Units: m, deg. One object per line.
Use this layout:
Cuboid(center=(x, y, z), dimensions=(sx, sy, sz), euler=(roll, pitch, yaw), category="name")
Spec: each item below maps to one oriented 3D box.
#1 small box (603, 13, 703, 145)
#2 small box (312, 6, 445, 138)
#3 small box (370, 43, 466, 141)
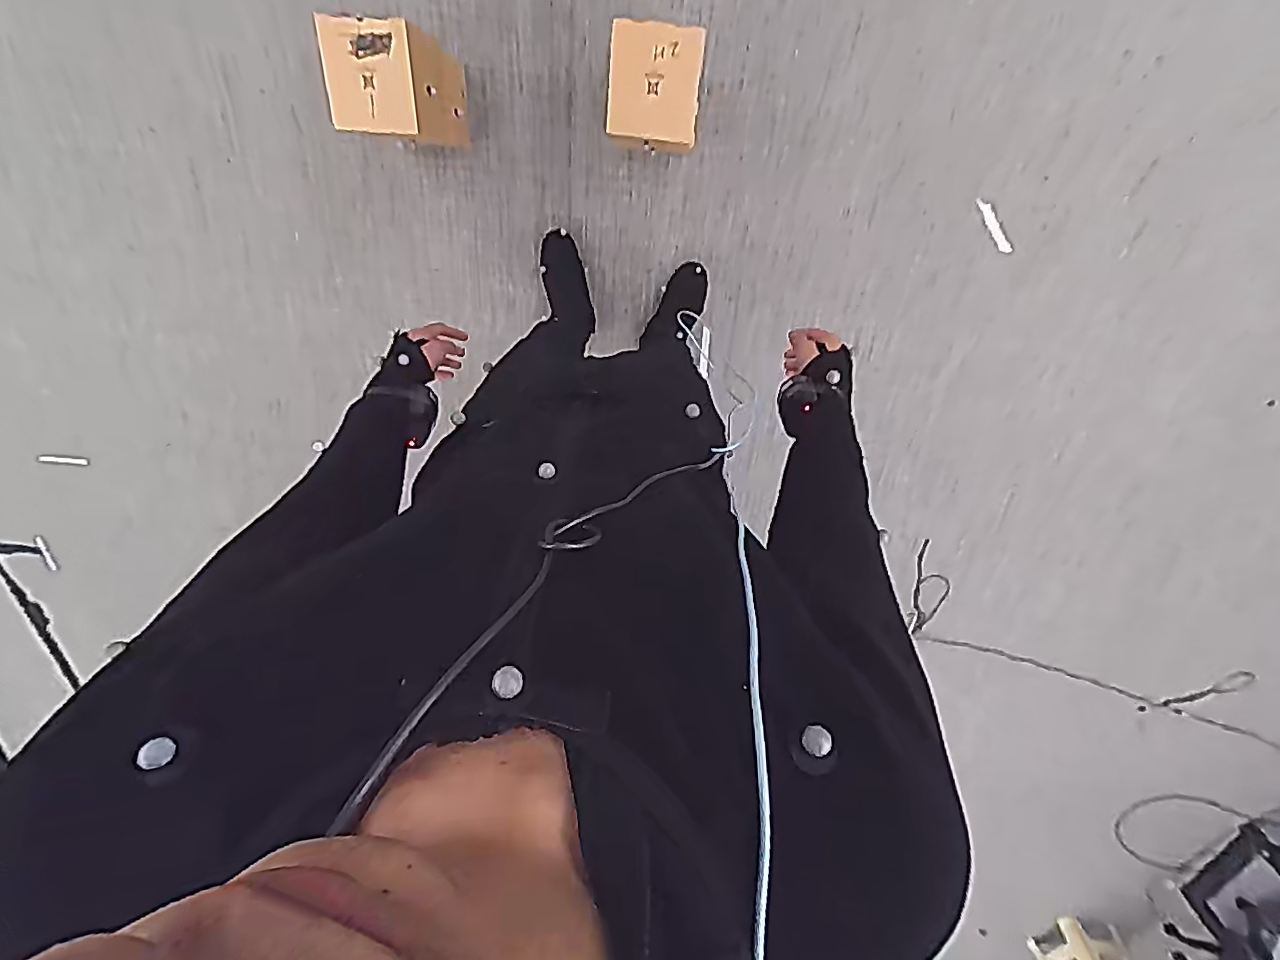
Cuboid(center=(0.024, -0.763, 1.047), dimensions=(0.168, 0.176, 0.179), euler=(6, 118, -2), category="small box")
Cuboid(center=(-0.495, -0.781, 1.052), dimensions=(0.168, 0.176, 0.179), euler=(4, 119, 0), category="small box")
Cuboid(center=(-0.496, -0.857, 1.198), dimensions=(0.179, 0.176, 0.168), euler=(4, 119, 0), category="small box")
